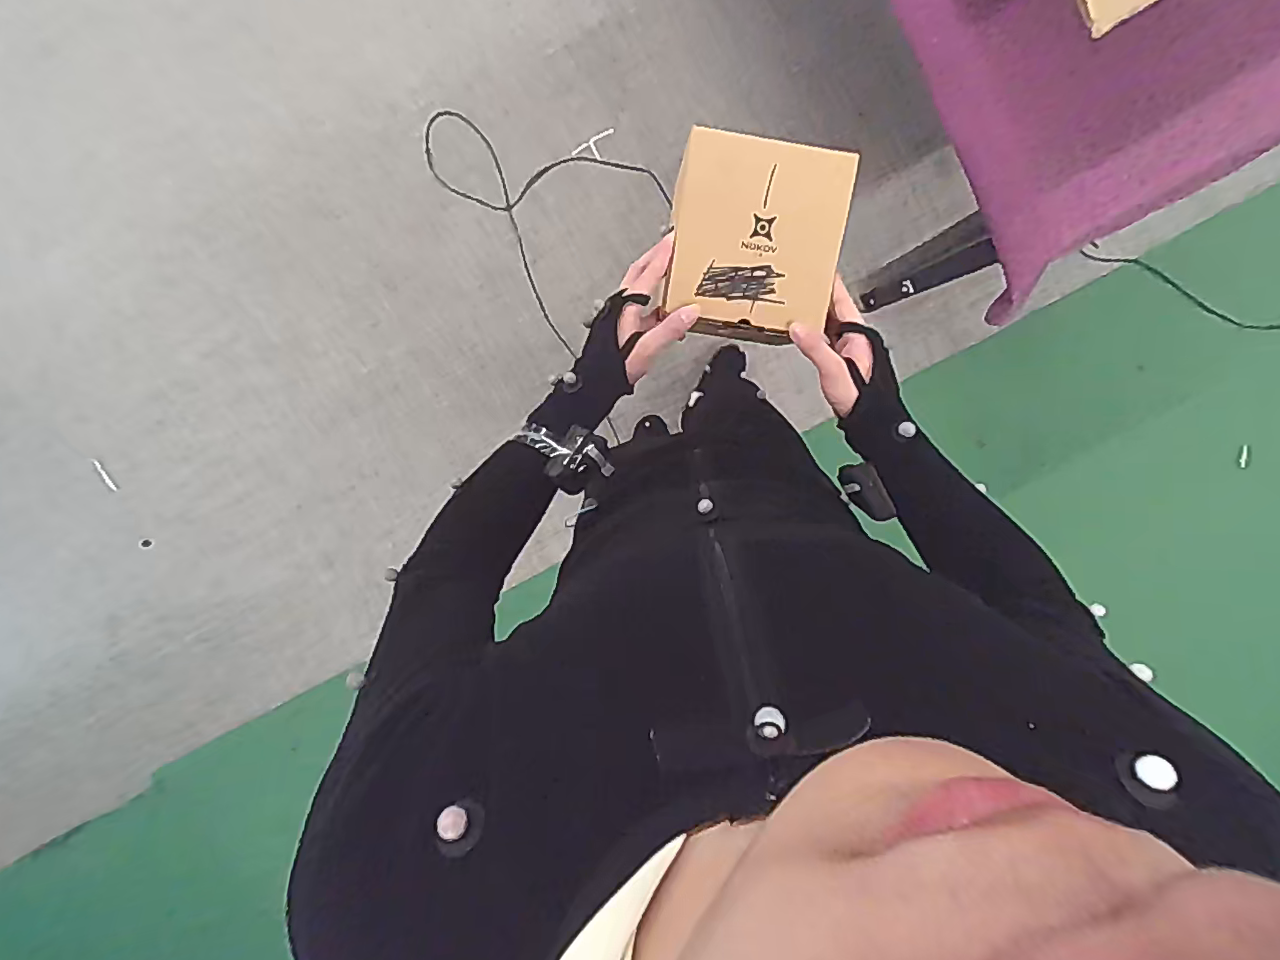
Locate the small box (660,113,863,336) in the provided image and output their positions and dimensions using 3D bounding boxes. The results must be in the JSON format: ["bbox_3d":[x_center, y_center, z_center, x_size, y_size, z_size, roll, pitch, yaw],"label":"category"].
[{"bbox_3d":[0.116,-0.261,0.599,0.168,0.176,0.179,8,101,-3],"label":"small box"}]
